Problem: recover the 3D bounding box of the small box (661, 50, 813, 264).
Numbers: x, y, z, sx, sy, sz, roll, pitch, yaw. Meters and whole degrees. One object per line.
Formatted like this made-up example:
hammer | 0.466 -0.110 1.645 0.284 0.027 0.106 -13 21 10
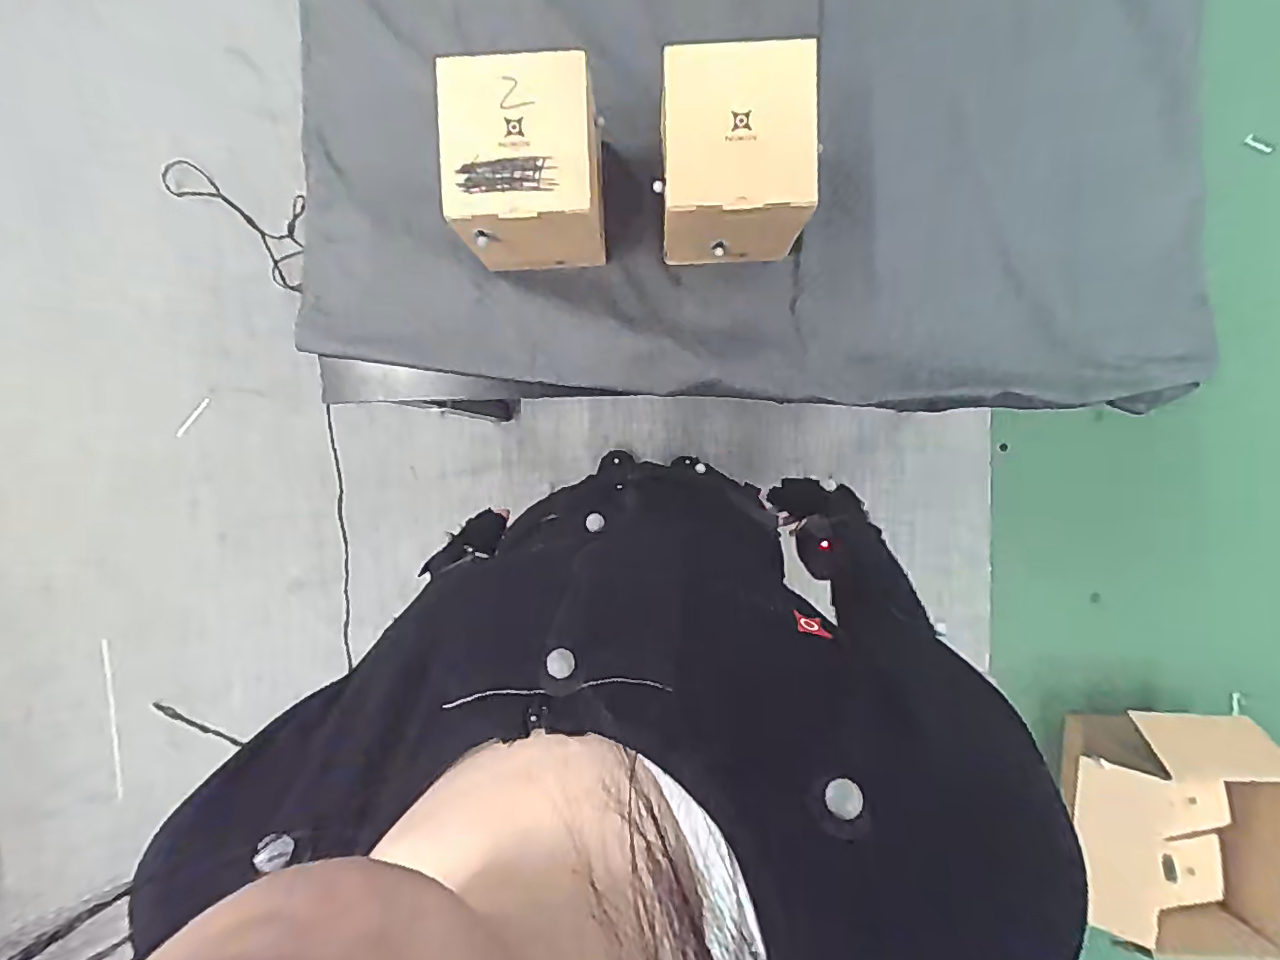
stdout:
small box | 0.112 -0.390 0.681 0.168 0.176 0.179 -2 93 2
